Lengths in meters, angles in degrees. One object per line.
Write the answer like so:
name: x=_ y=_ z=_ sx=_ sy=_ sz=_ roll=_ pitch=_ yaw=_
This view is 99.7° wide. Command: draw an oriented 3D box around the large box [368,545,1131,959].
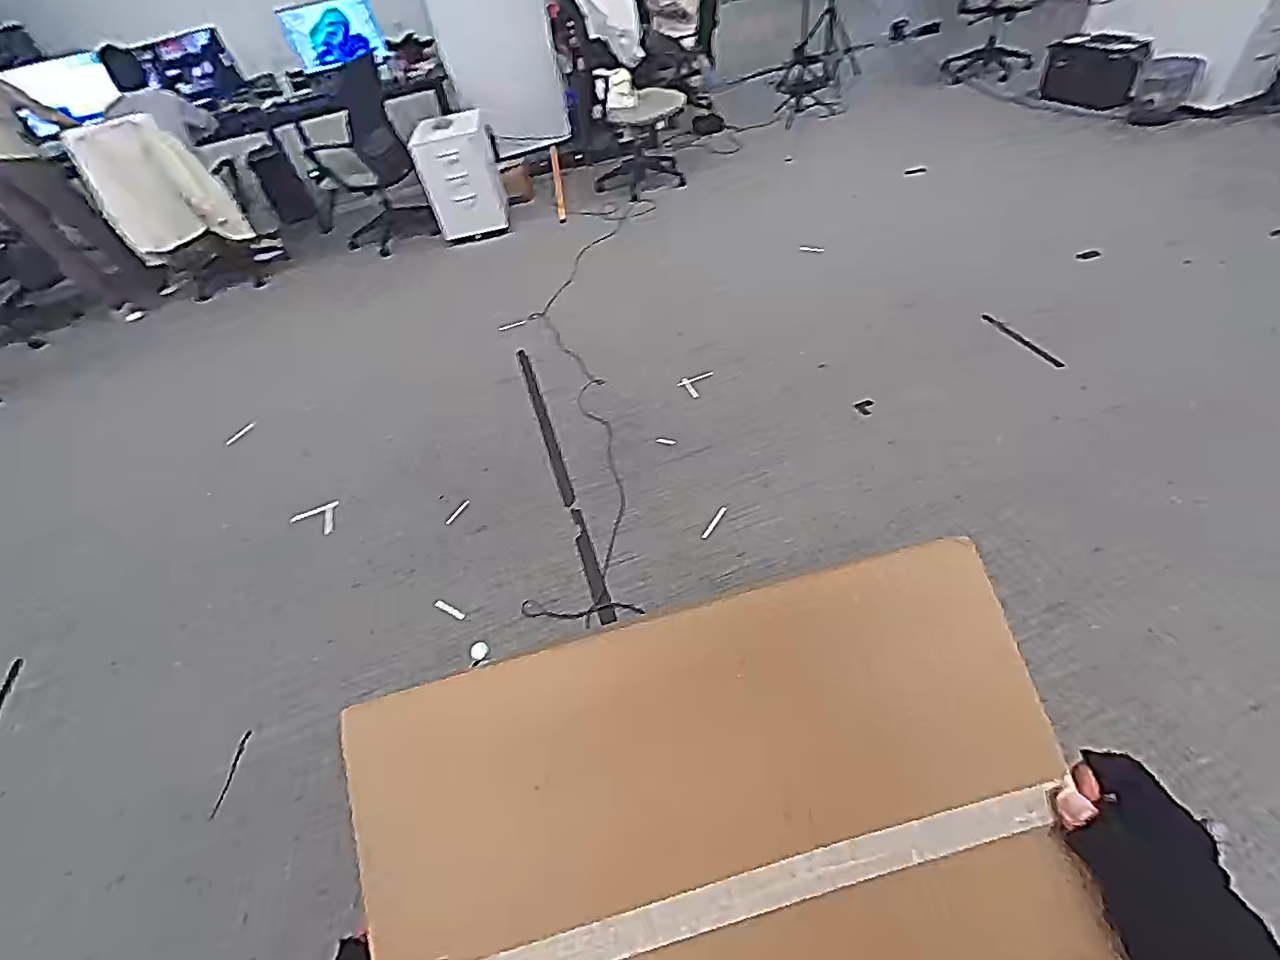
large box: x=0.061 y=0.274 z=0.457 sx=0.408 sy=0.320 sz=0.320 roll=-15 pitch=77 yaw=-2
